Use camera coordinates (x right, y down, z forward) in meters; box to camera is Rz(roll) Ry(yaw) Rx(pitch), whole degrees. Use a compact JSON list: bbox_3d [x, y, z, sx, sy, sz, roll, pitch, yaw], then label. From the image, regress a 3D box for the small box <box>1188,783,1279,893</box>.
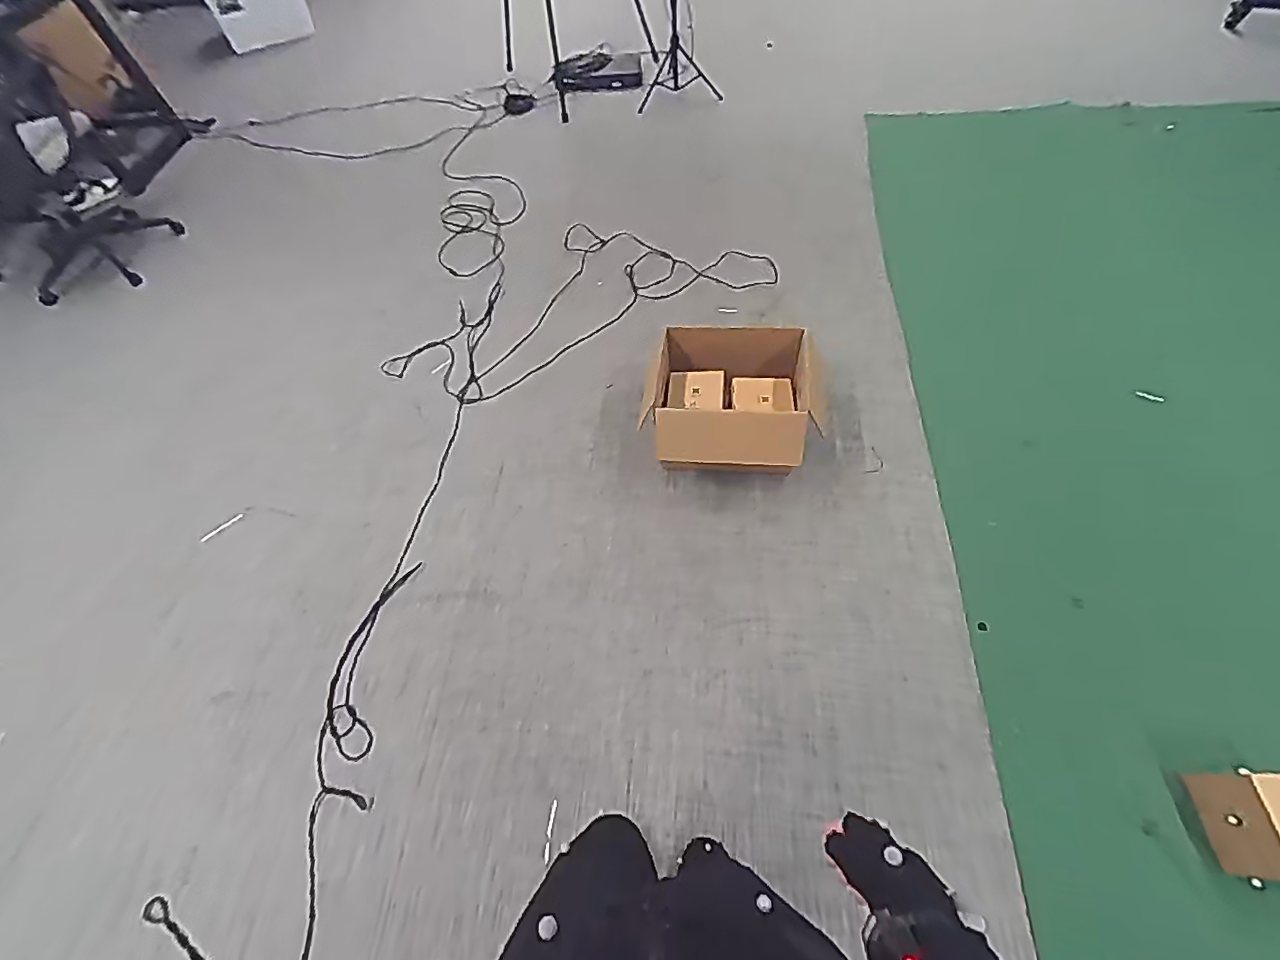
[{"bbox_3d":[1.242,0.693,1.043,0.168,0.176,0.179,0,57,6],"label":"small box"}]
